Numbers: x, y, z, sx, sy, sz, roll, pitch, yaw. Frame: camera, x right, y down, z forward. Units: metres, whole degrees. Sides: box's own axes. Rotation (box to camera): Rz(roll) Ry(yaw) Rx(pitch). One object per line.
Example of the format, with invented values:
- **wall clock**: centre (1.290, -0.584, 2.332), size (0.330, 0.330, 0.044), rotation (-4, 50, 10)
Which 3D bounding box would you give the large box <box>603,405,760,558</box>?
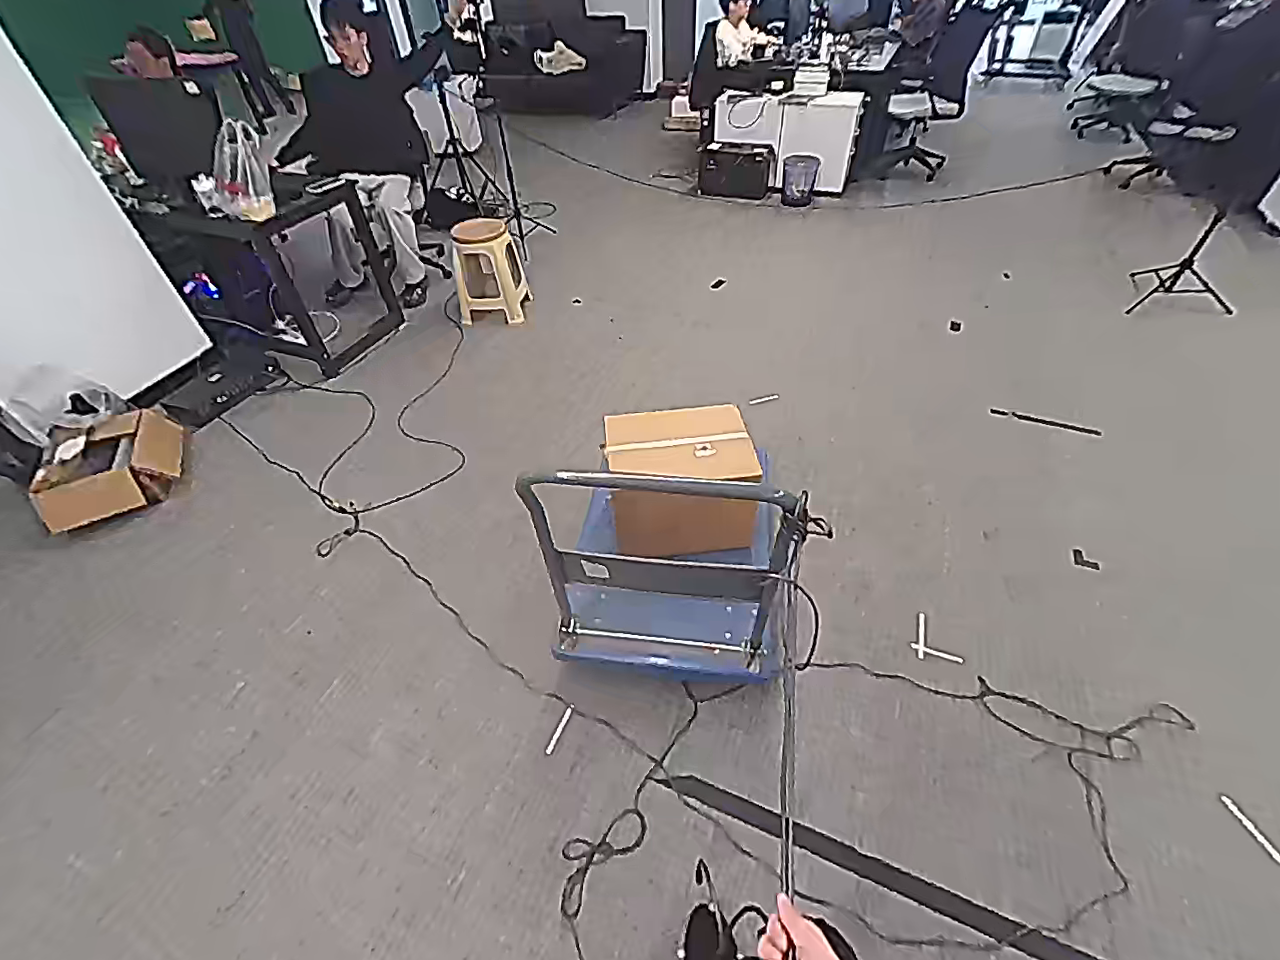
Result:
- **large box**: centre (0.106, 0.006, 1.611), size (0.408, 0.320, 0.320), rotation (-5, 46, -3)
